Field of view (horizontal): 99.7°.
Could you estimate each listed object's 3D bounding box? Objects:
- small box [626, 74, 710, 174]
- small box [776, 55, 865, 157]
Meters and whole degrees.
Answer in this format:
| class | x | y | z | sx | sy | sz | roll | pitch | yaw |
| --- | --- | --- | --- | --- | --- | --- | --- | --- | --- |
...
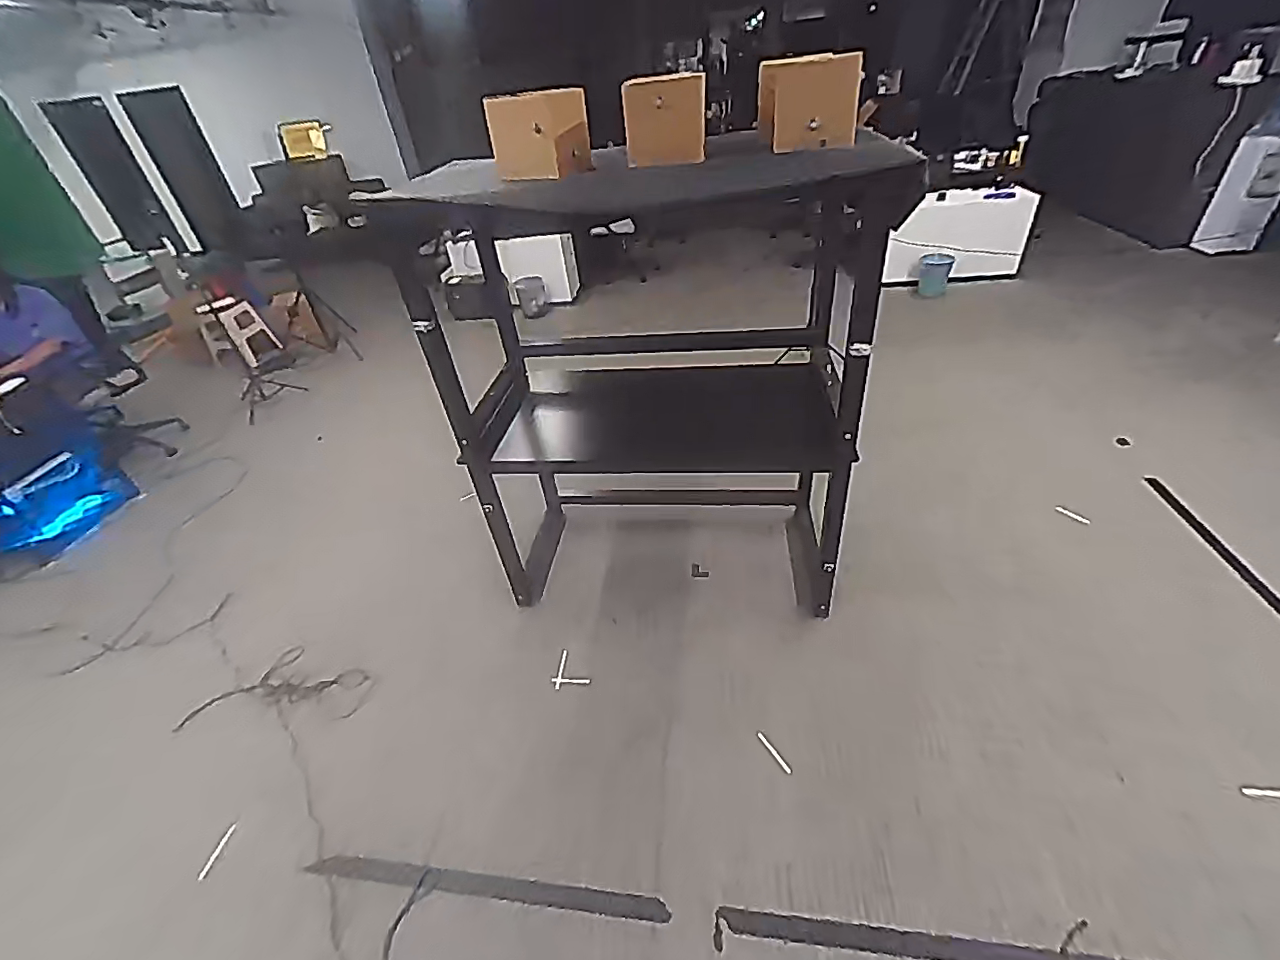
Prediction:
| class | x | y | z | sx | sy | sz | roll | pitch | yaw |
| --- | --- | --- | --- | --- | --- | --- | --- | --- | --- |
| small box | 0.073 | -0.823 | 1.251 | 0.179 | 0.176 | 0.168 | -1 | 38 | 9 |
| small box | 0.391 | -0.819 | 1.188 | 0.168 | 0.176 | 0.179 | 4 | 39 | 15 |
